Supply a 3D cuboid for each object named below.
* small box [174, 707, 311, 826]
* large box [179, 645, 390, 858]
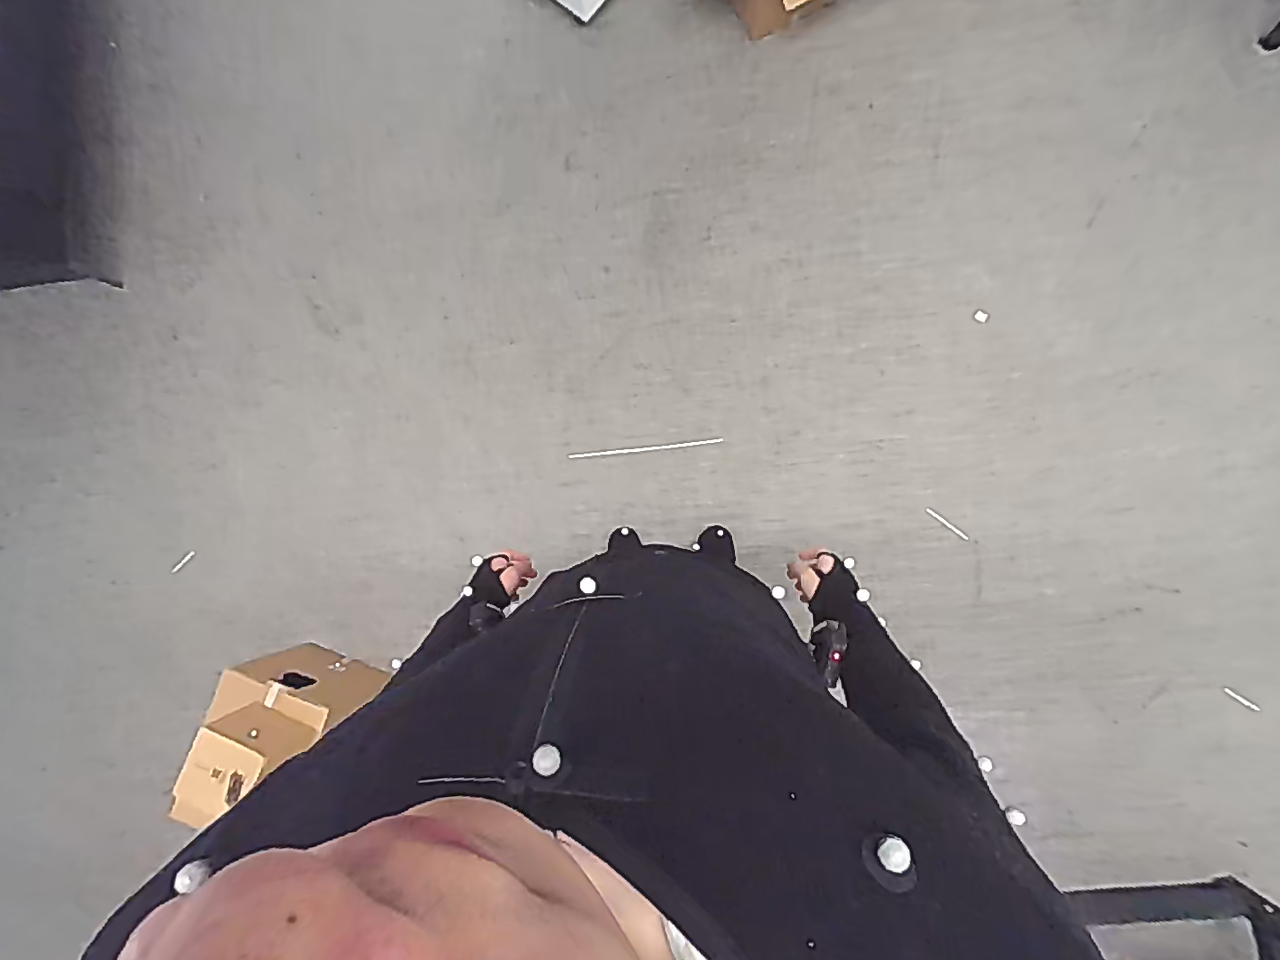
[{"bbox_3d":[-0.937,0.672,1.293,0.179,0.176,0.168,22,88,5],"label":"small box"},{"bbox_3d":[-0.982,0.738,1.539,0.320,0.320,0.408,18,88,6],"label":"large box"}]
